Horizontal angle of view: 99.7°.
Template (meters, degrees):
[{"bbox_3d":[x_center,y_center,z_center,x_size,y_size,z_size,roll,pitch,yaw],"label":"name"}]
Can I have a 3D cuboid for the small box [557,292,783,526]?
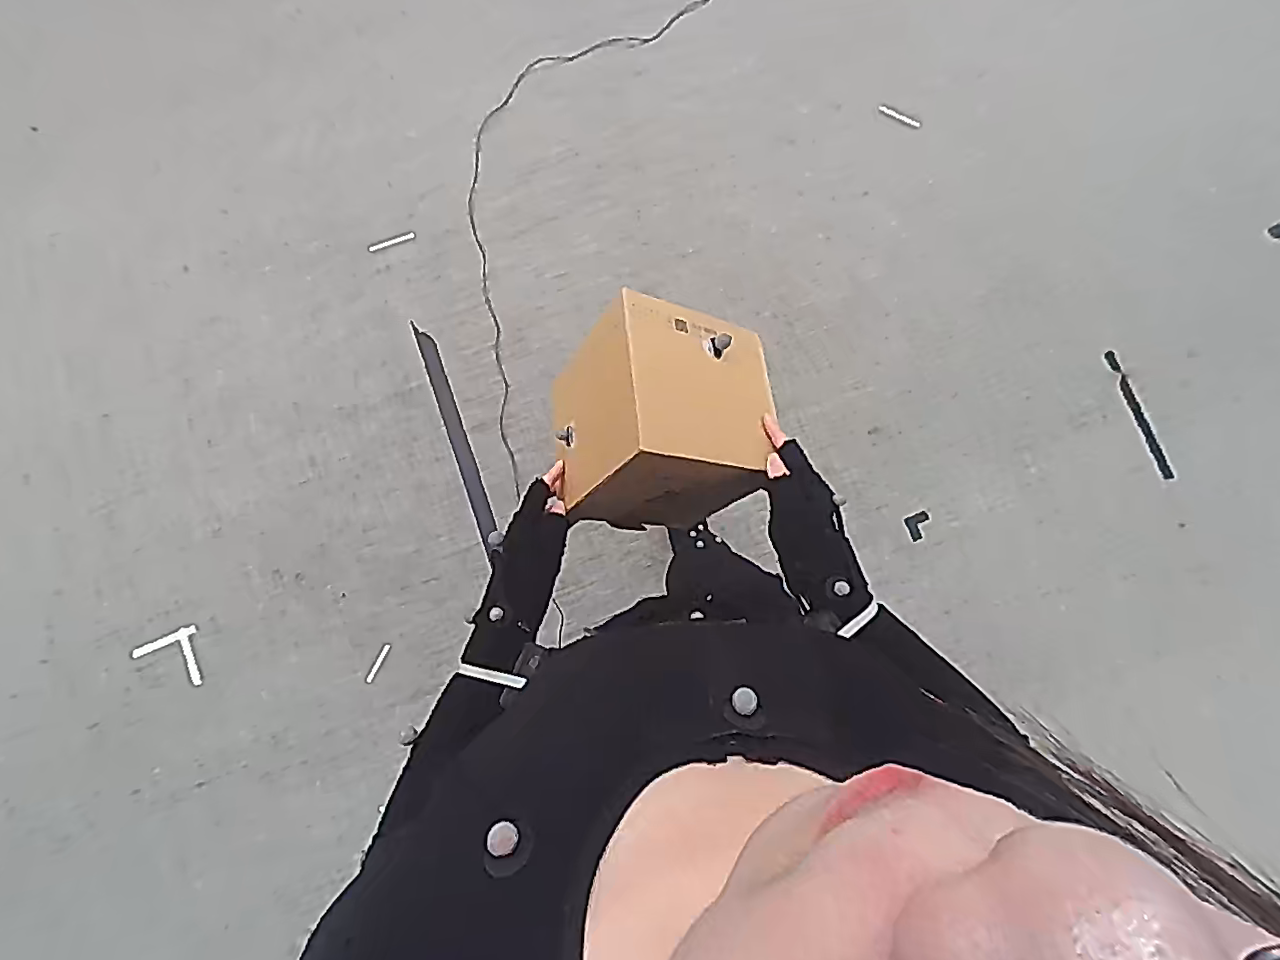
[{"bbox_3d":[0.019,-0.061,0.569,0.168,0.179,0.176,6,64,-31],"label":"small box"}]
